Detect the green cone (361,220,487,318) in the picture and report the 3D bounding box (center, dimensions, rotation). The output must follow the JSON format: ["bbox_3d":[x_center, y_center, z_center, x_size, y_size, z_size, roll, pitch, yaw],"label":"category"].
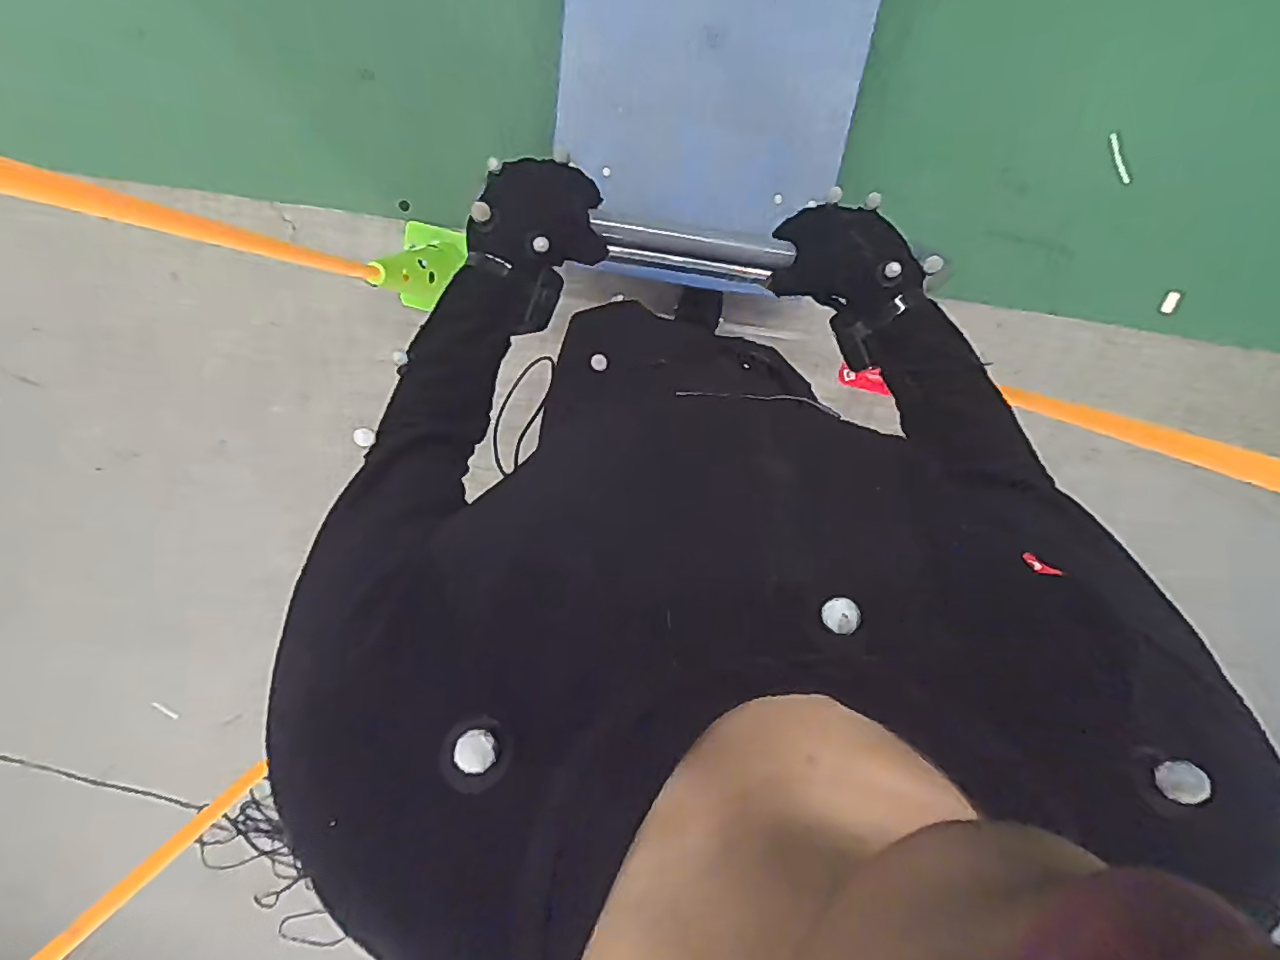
[{"bbox_3d":[-0.492,-0.460,1.179,0.202,0.368,0.200,13,110,-2],"label":"green cone"}]
